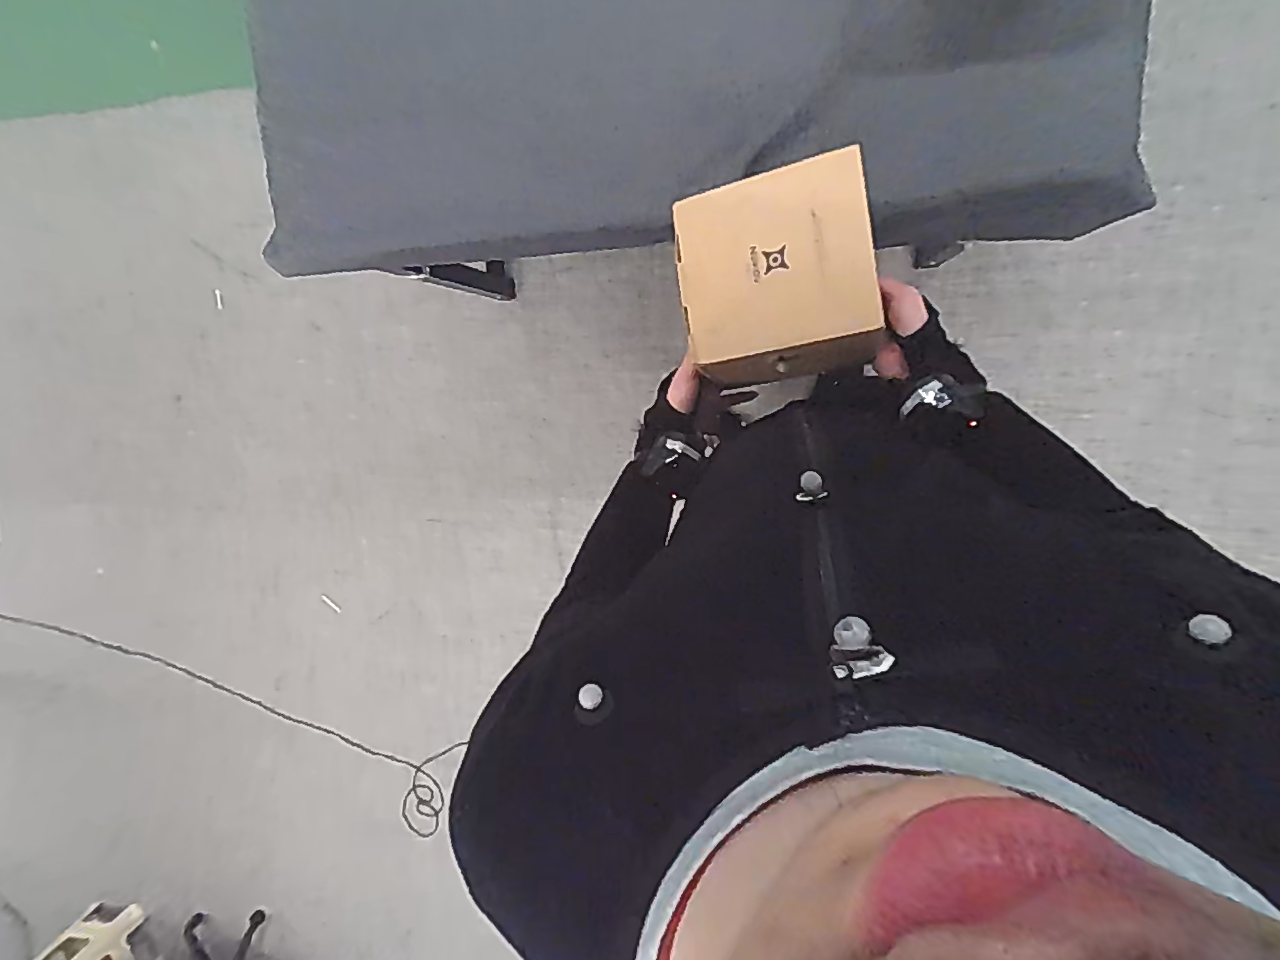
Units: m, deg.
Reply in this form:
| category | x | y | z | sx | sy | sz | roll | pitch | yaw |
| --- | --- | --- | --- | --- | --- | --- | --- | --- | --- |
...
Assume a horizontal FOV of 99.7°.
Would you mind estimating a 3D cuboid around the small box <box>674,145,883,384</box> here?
| category | x | y | z | sx | sy | sz | roll | pitch | yaw |
| --- | --- | --- | --- | --- | --- | --- | --- | --- | --- |
| small box | 0.150 | -0.206 | 0.576 | 0.179 | 0.176 | 0.168 | -8 | 89 | 19 |
